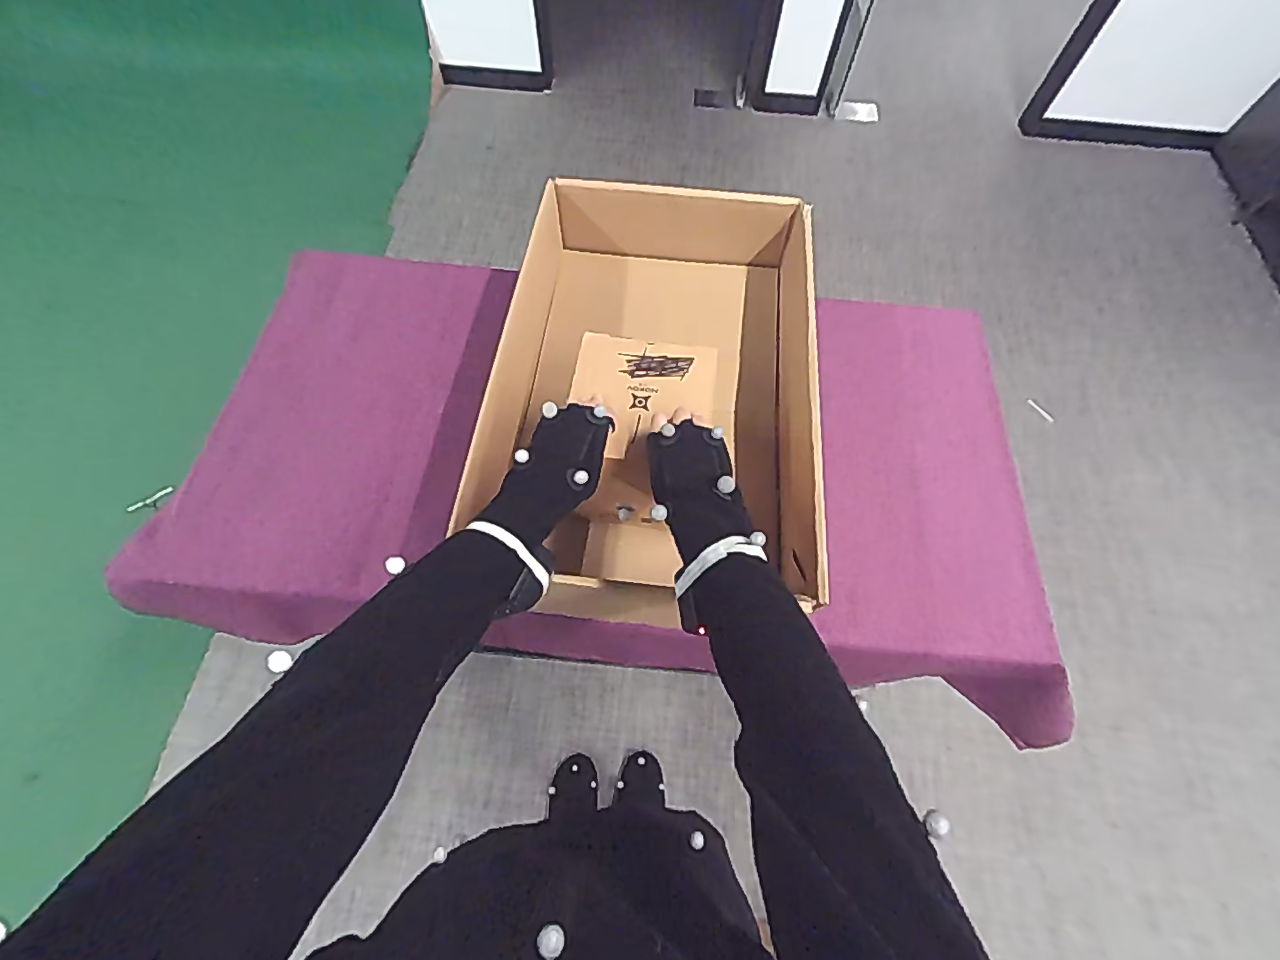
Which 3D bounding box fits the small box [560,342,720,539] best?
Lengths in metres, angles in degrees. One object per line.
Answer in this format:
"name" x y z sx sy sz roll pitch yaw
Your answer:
"small box" 0.002 -0.045 0.685 0.168 0.176 0.179 7 62 2
